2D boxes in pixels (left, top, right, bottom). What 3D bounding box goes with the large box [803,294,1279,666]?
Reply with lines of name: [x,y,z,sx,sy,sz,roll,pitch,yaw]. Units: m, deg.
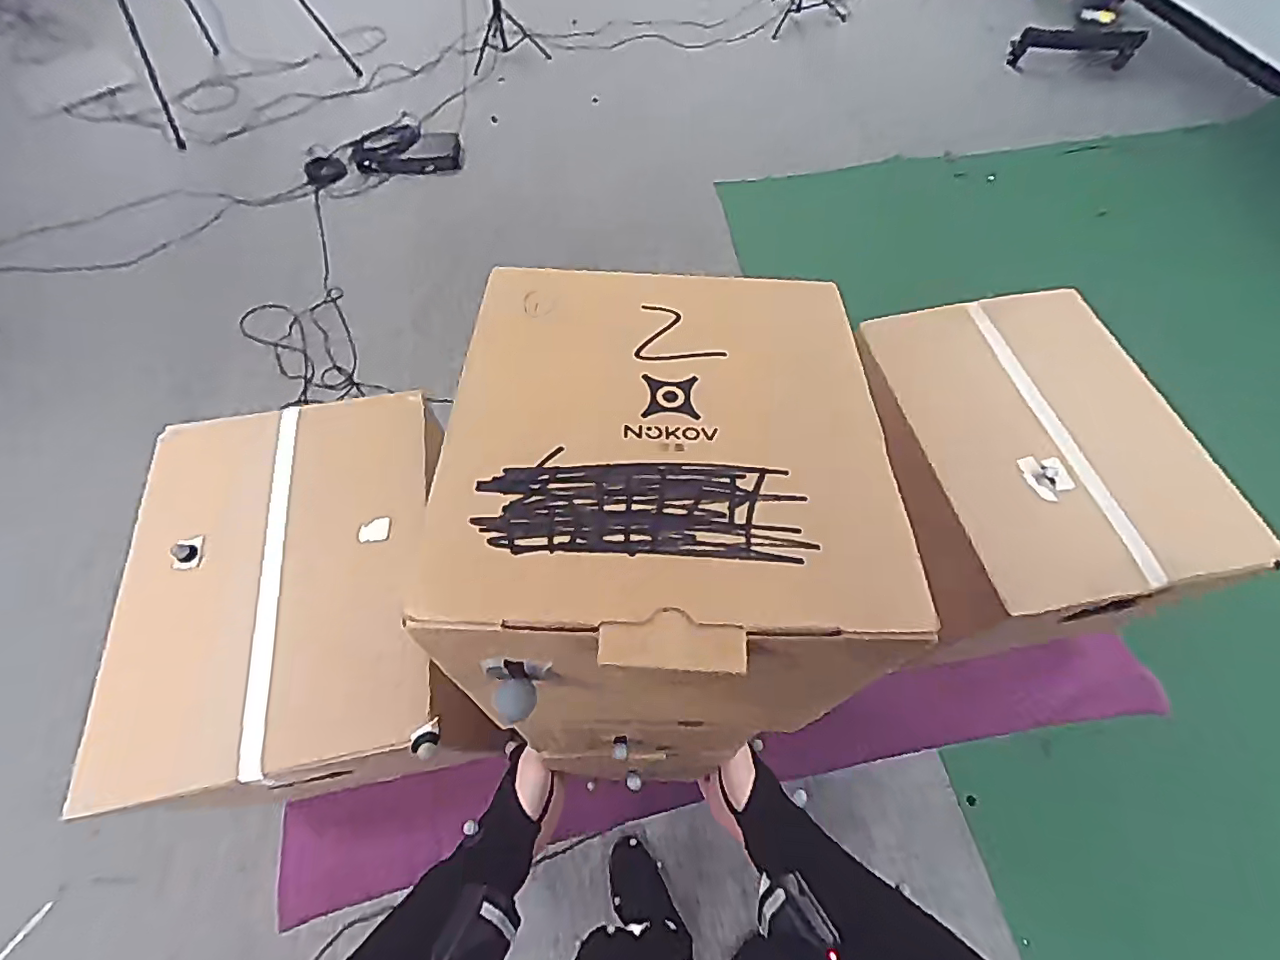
large box: [0.477,0.009,0.768,0.320,0.320,0.408,-11,62,-4]

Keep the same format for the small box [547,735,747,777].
small box: [0.002,0.194,0.548,0.168,0.176,0.179,0,57,-2]

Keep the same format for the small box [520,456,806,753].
small box: [0.008,0.101,0.415,0.168,0.176,0.179,1,57,-3]
